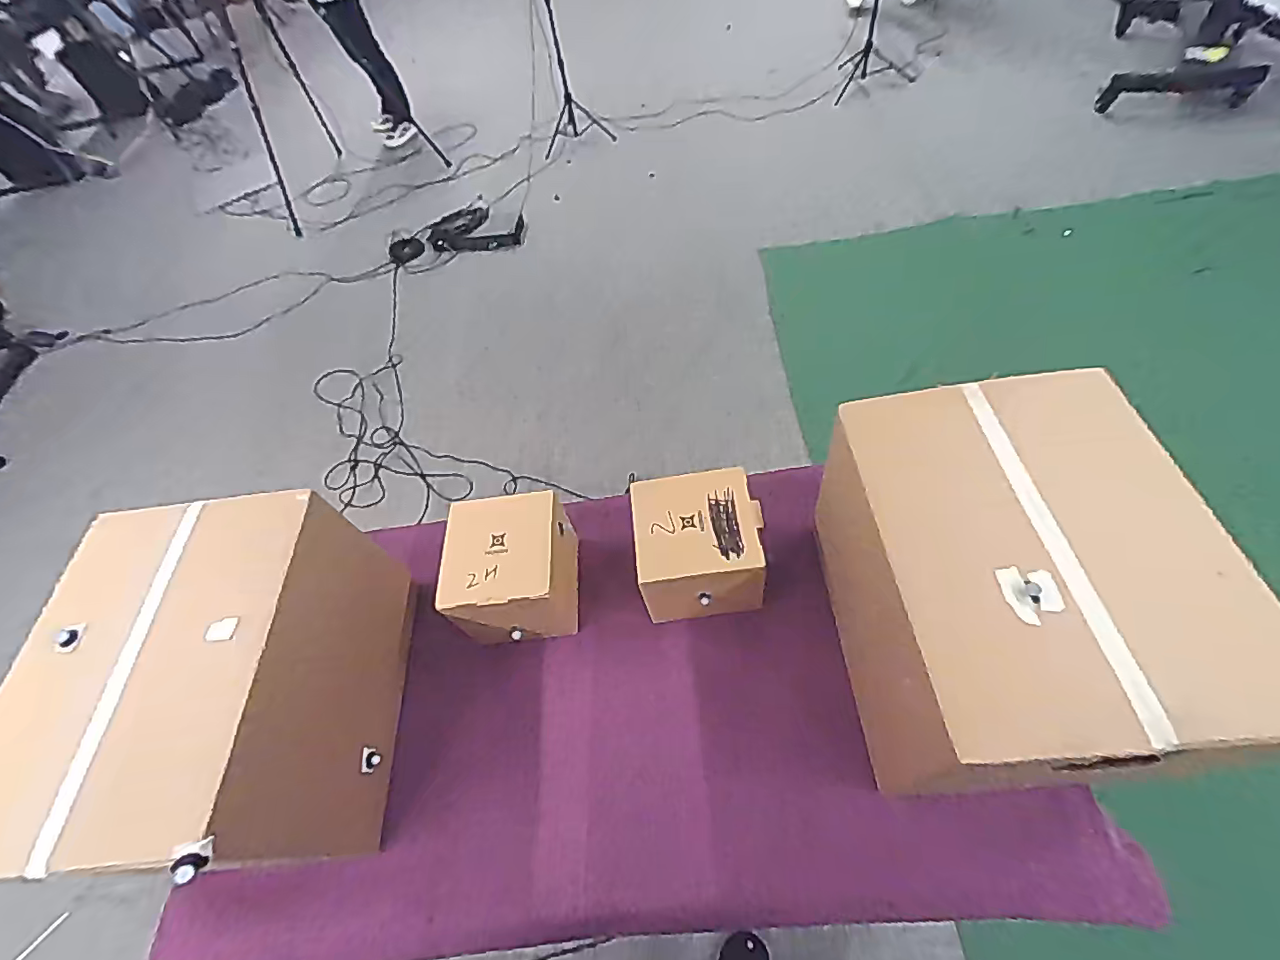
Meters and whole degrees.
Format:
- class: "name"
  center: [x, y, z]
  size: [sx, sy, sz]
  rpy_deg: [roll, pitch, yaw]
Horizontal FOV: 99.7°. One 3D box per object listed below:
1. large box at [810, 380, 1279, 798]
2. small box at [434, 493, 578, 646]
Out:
- class: "large box"
  center: [0.426, 0.142, 0.667]
  size: [0.320, 0.320, 0.408]
  rpy_deg: [-8, 56, 6]
- class: "small box"
  center: [-0.197, 0.144, 0.848]
  size: [0.168, 0.176, 0.179]
  rpy_deg: [-8, 55, 5]
